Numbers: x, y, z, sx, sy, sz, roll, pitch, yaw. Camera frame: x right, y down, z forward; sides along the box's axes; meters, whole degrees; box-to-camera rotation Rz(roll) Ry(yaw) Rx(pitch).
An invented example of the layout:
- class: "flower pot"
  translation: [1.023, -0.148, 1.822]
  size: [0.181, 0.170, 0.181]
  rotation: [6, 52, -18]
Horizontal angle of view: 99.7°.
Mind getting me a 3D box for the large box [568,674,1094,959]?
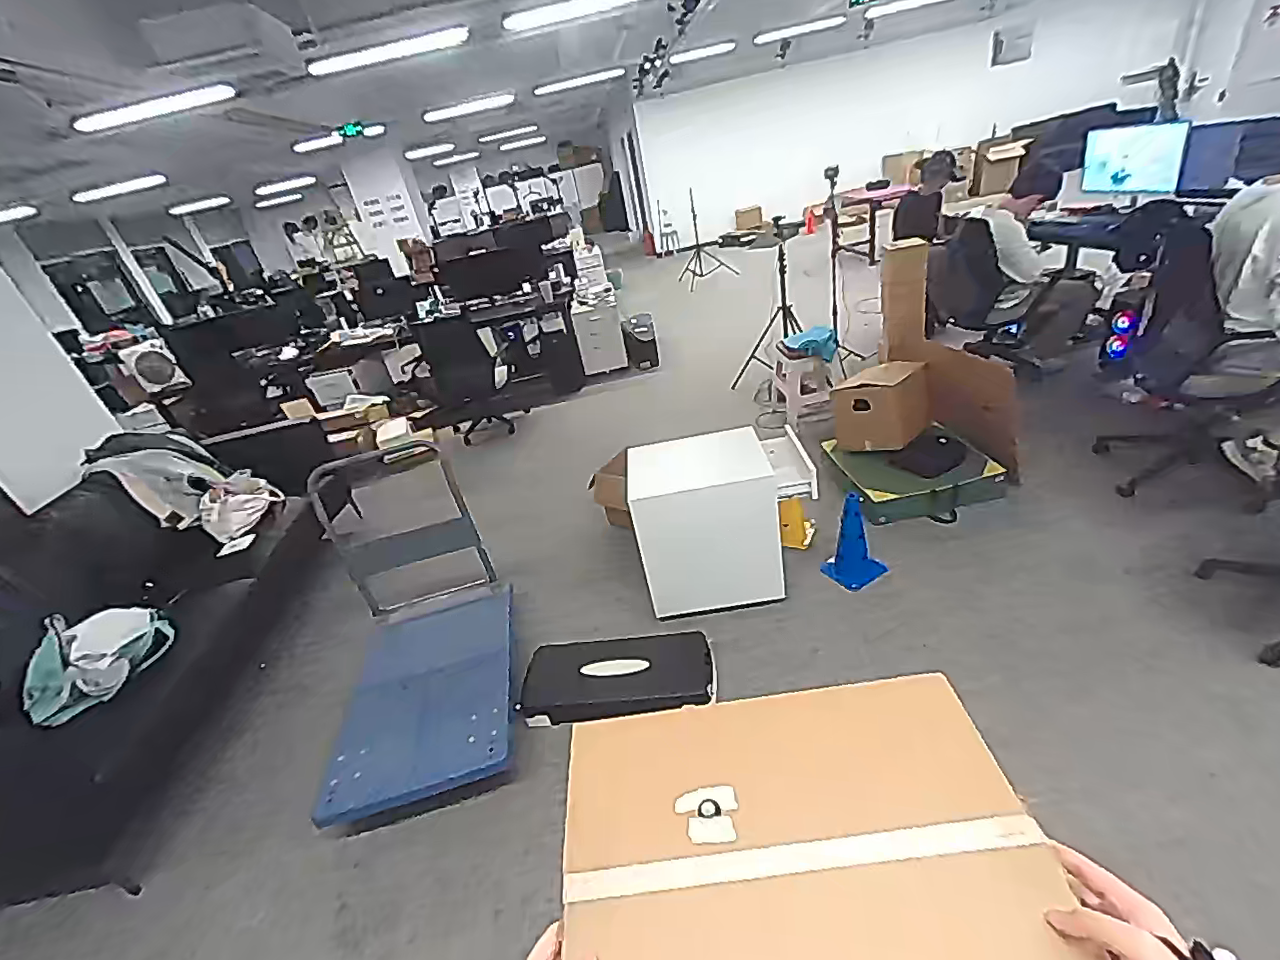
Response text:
- class: "large box"
  translation: [0.162, 0.453, 0.561]
  size: [0.408, 0.320, 0.320]
  rotation: [-11, 35, 4]
